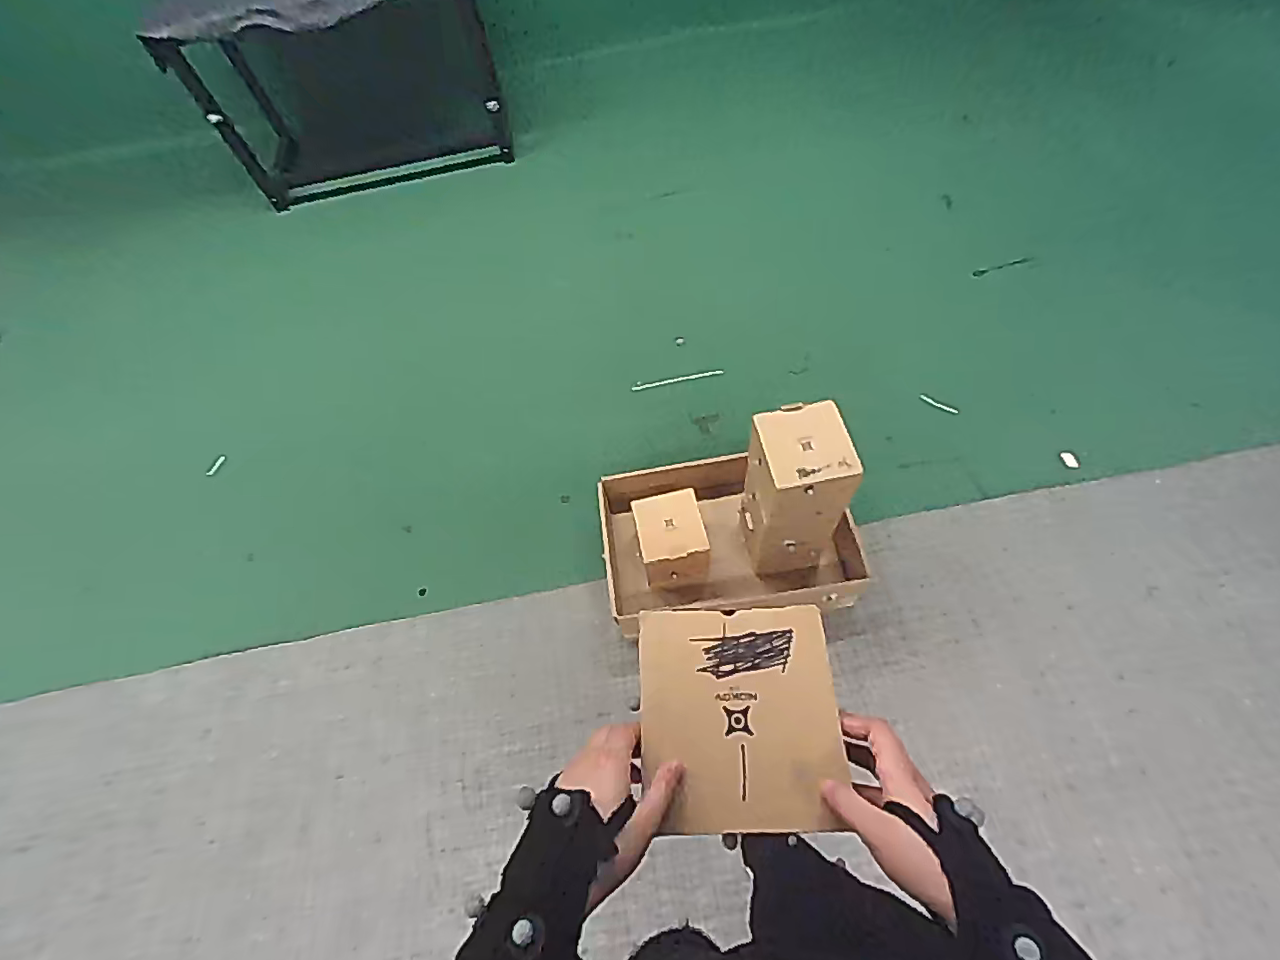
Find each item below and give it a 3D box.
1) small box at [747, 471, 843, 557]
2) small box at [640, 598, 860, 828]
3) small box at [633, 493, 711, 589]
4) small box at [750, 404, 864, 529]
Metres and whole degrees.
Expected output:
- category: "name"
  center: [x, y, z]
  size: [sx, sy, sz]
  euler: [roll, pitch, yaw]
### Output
- category: "small box"
  center: [0.343, 0.058, 1.238]
  size: [0.168, 0.176, 0.179]
  euler: [-9, 61, 3]
- category: "small box"
  center: [0.084, 0.225, 0.513]
  size: [0.168, 0.176, 0.179]
  euler: [-3, 59, 2]
- category: "small box"
  center: [0.080, 0.160, 1.400]
  size: [0.168, 0.176, 0.179]
  euler: [-13, 60, -2]
- category: "small box"
  center: [0.325, -0.023, 1.096]
  size: [0.168, 0.176, 0.179]
  euler: [-11, 59, 2]
